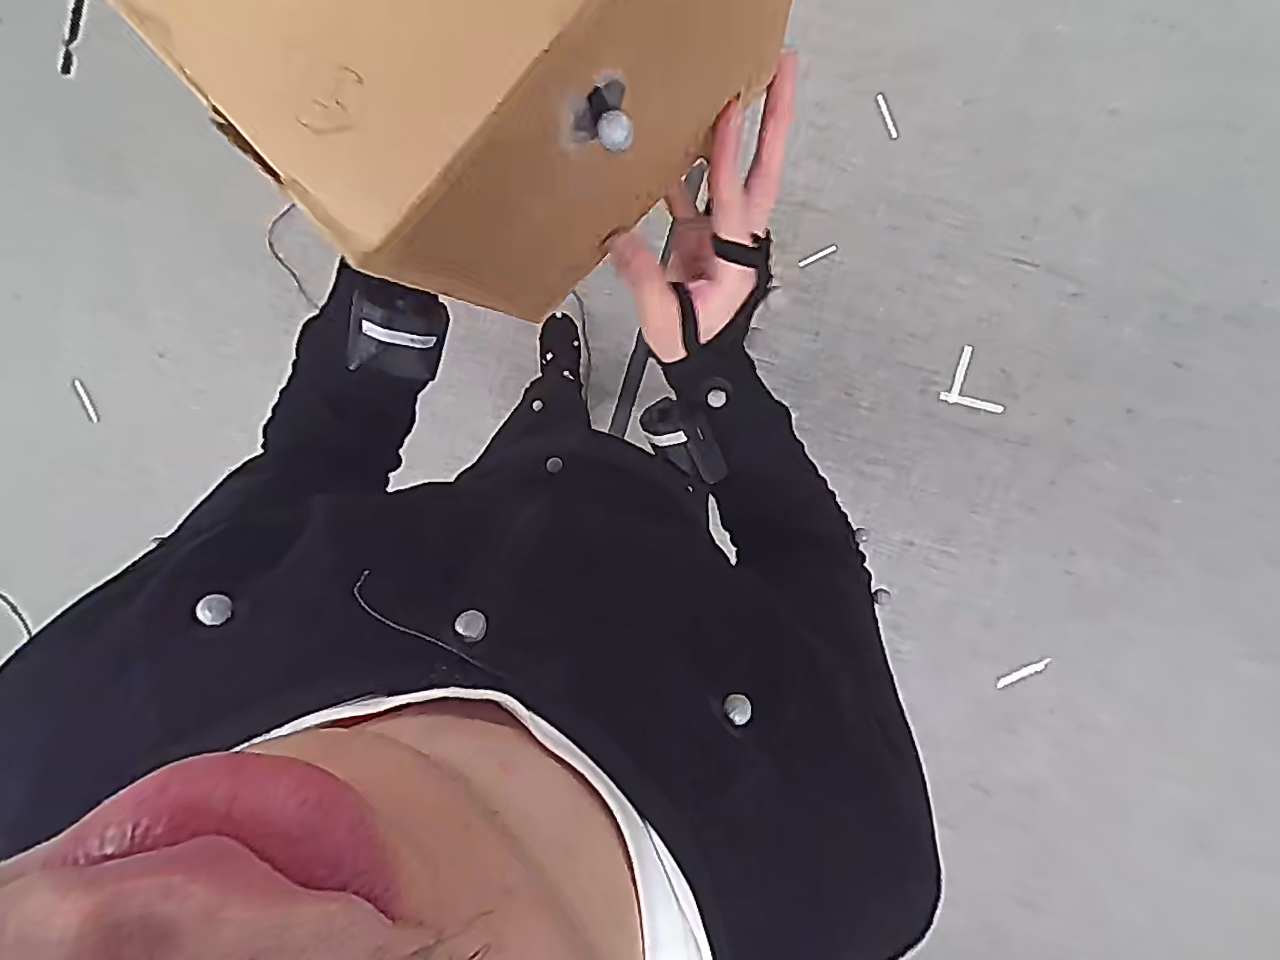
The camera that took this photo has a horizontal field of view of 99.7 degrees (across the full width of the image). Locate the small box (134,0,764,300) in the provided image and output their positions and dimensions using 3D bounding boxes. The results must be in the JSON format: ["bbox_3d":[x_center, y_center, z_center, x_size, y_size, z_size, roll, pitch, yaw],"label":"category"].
[{"bbox_3d":[-0.060,-0.197,0.218,0.179,0.176,0.168,-43,94,13],"label":"small box"}]
